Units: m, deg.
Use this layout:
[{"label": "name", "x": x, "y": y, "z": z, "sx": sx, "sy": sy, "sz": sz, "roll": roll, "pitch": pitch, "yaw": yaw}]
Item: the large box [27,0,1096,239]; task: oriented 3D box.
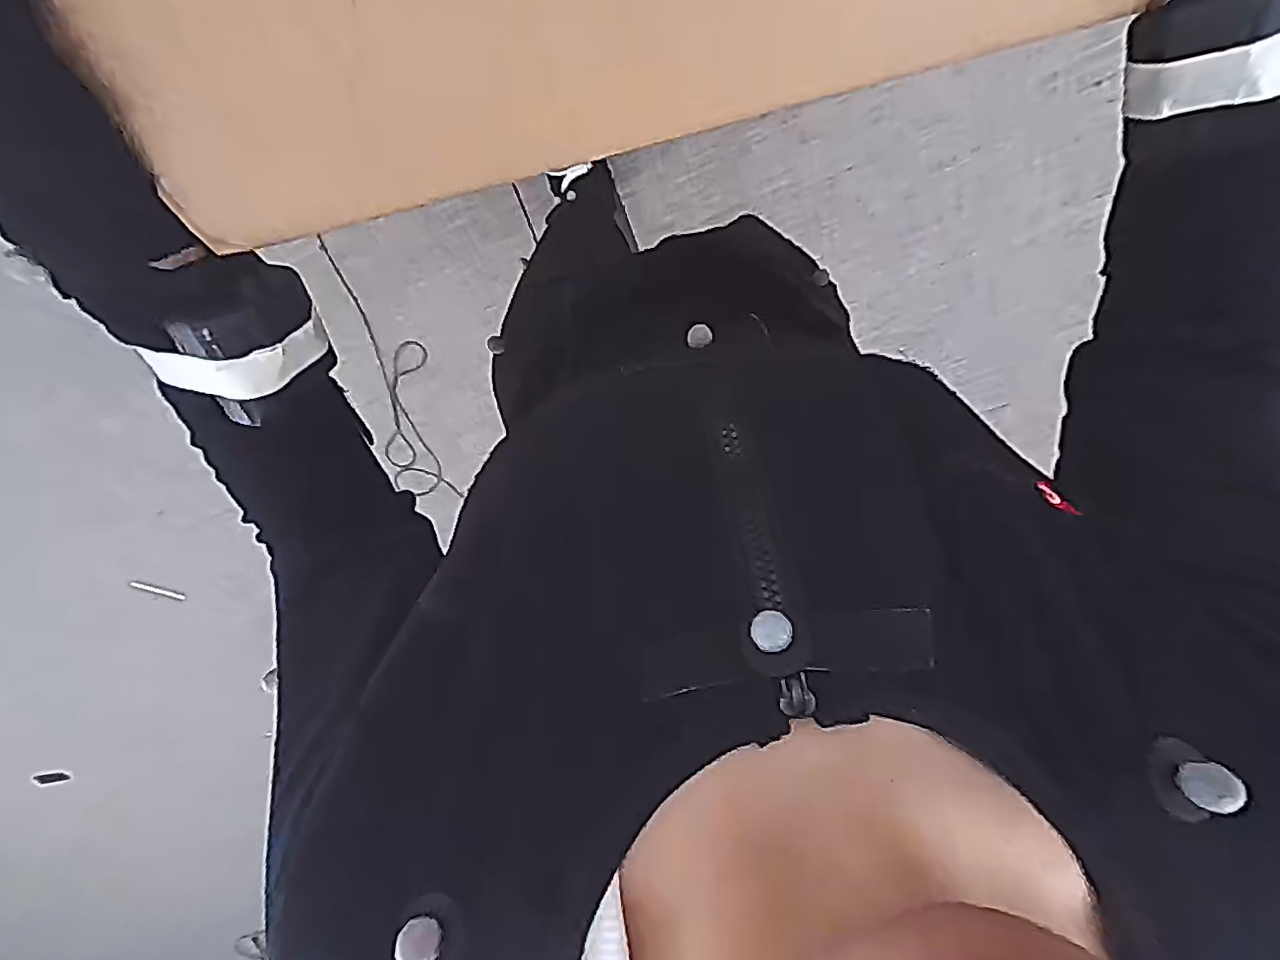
[{"label": "large box", "x": -0.040, "y": -0.359, "z": 0.201, "sx": 0.408, "sy": 0.320, "sz": 0.320, "roll": -13, "pitch": 142, "yaw": 3}]
